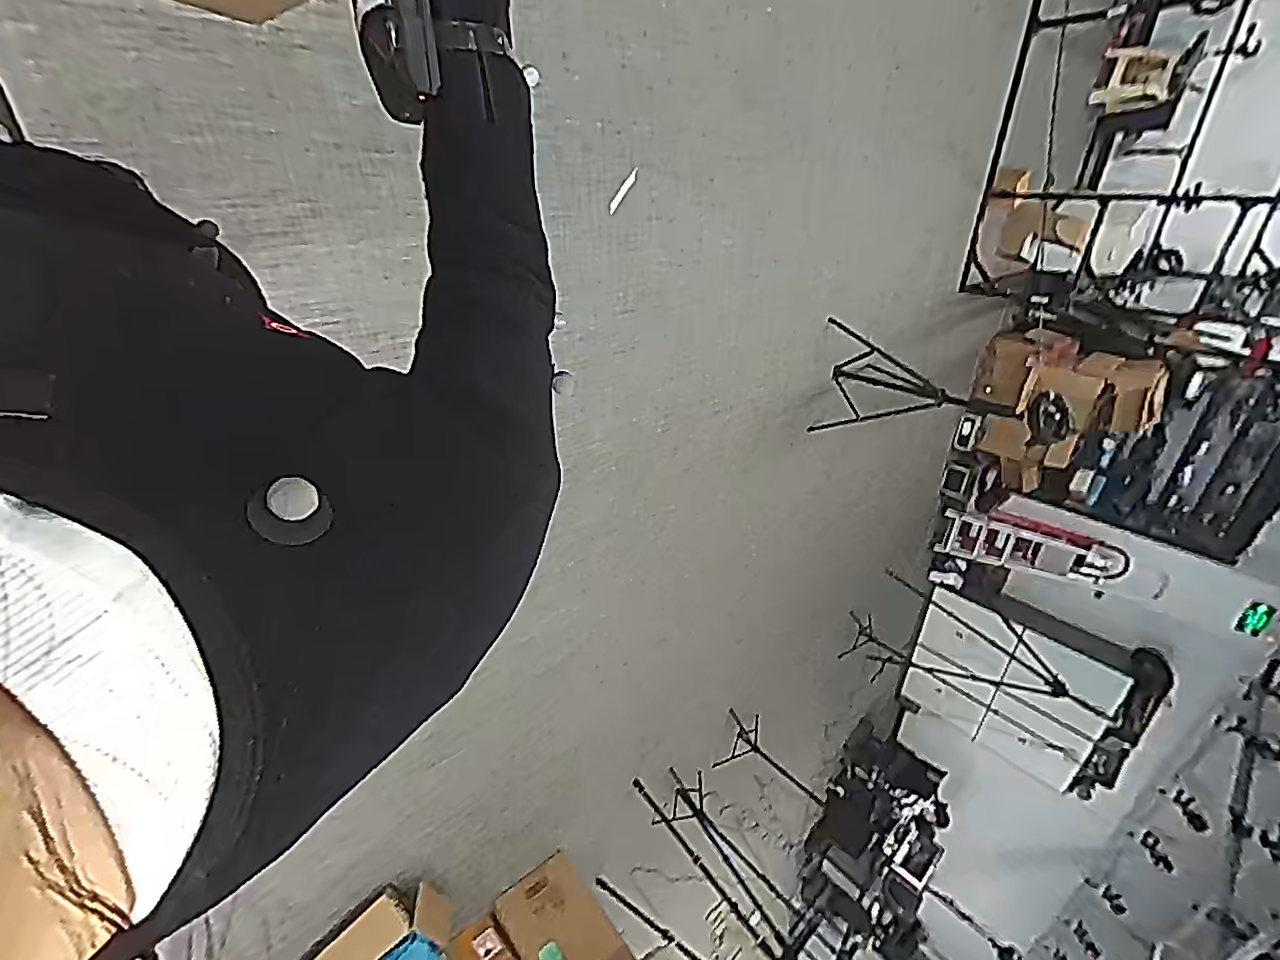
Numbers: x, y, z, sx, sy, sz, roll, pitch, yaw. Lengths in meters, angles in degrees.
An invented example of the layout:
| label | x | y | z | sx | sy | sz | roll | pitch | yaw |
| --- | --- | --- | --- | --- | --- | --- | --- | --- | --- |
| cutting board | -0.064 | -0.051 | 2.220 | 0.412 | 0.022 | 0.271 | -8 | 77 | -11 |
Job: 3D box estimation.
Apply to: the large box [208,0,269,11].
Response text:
| label | x | y | z | sx | sy | sz | roll | pitch | yaw |
| --- | --- | --- | --- | --- | --- | --- | --- | --- | --- |
| large box | -0.376 | -0.457 | 0.209 | 0.408 | 0.320 | 0.320 | -15 | 126 | -41 |
